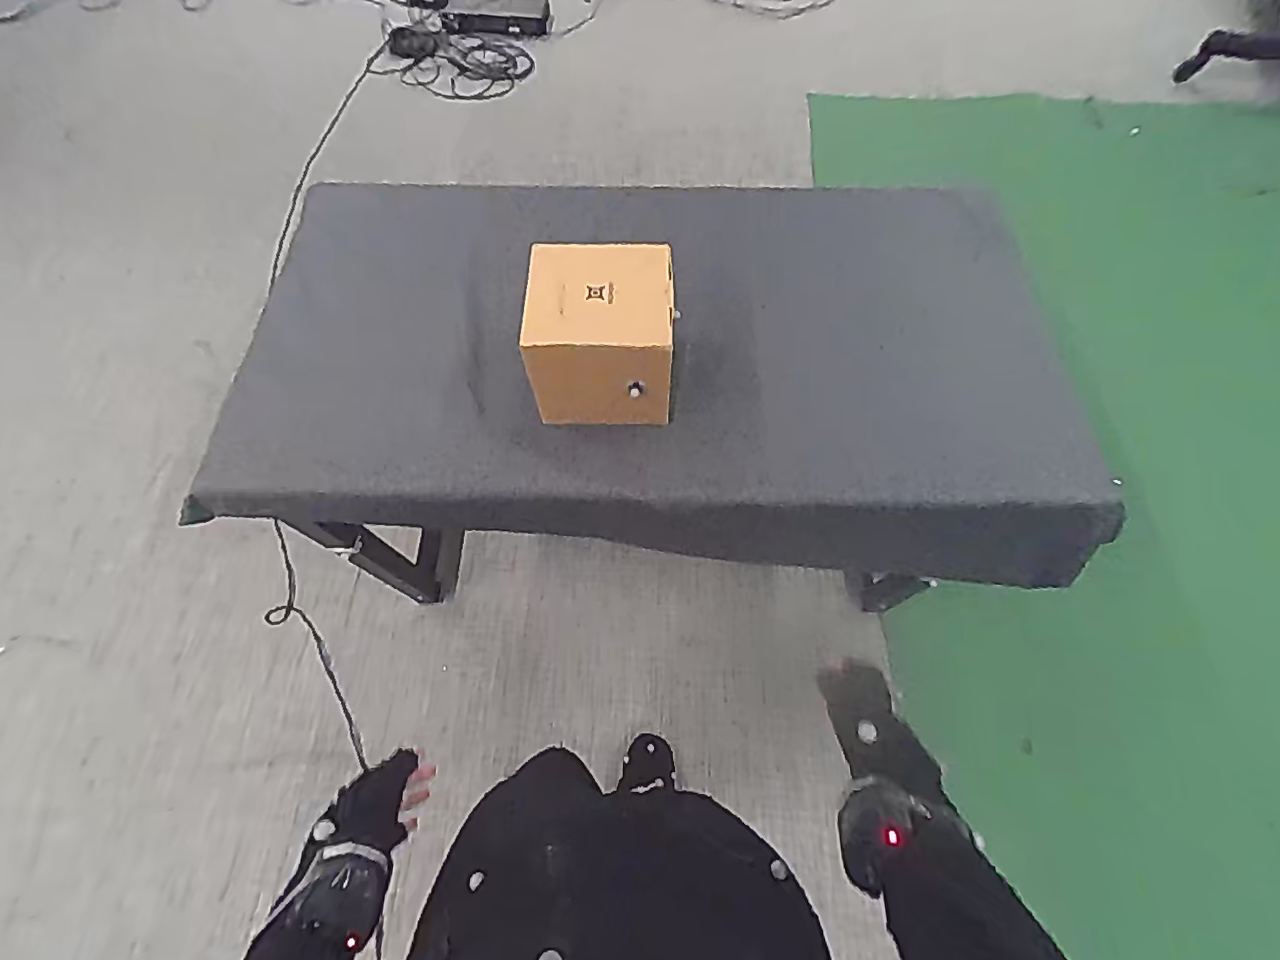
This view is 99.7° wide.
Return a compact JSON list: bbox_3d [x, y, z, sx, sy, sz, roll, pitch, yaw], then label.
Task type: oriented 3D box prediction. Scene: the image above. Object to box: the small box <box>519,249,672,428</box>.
[{"bbox_3d":[-0.050,-0.181,0.719,0.179,0.176,0.168,-1,63,2],"label":"small box"}]
